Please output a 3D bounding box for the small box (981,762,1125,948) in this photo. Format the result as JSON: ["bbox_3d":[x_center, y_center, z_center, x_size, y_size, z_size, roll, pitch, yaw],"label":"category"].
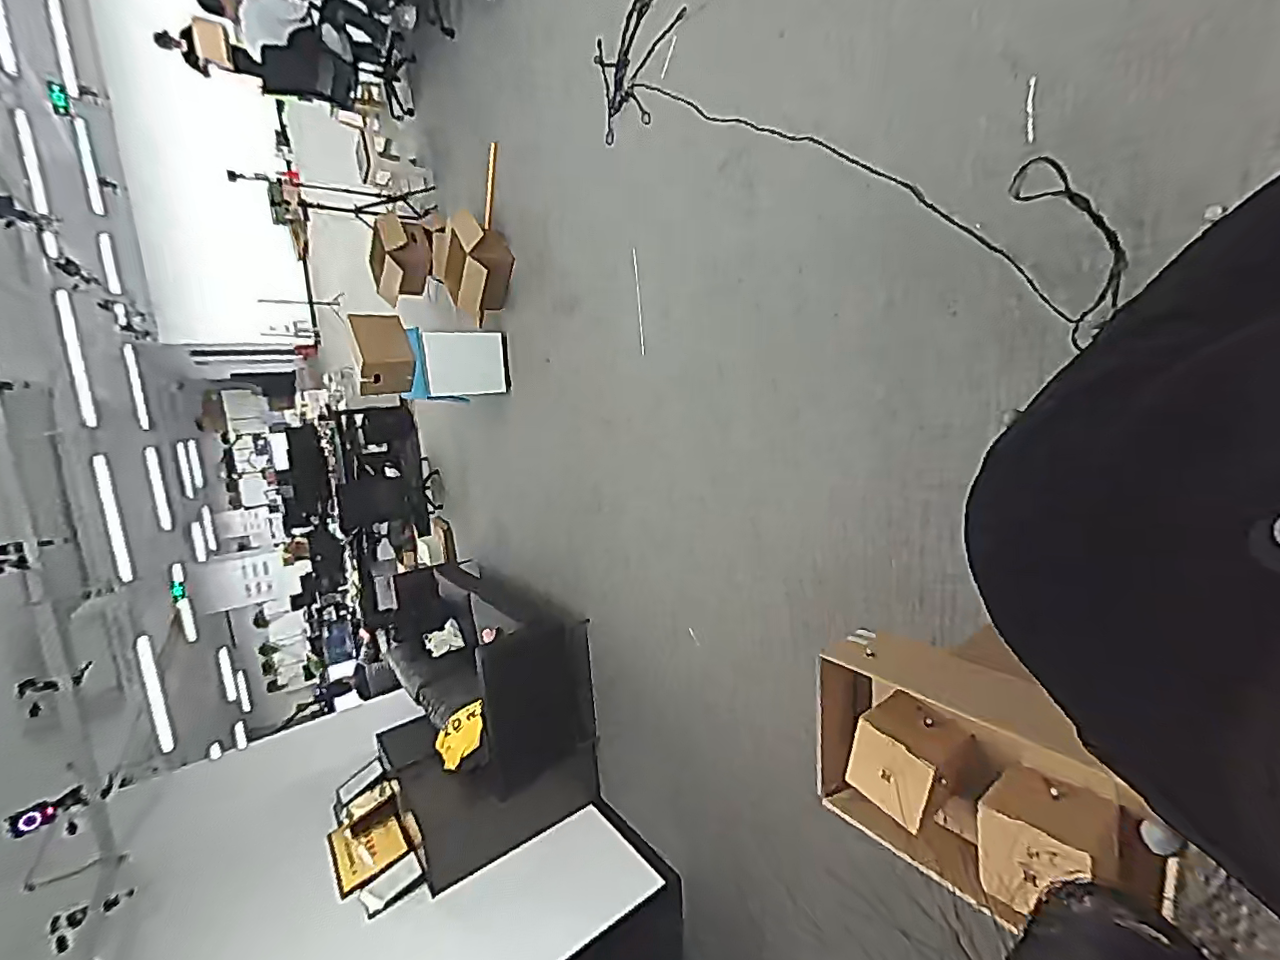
[{"bbox_3d":[0.733,0.649,0.961,0.168,0.176,0.179,4,102,54],"label":"small box"}]
